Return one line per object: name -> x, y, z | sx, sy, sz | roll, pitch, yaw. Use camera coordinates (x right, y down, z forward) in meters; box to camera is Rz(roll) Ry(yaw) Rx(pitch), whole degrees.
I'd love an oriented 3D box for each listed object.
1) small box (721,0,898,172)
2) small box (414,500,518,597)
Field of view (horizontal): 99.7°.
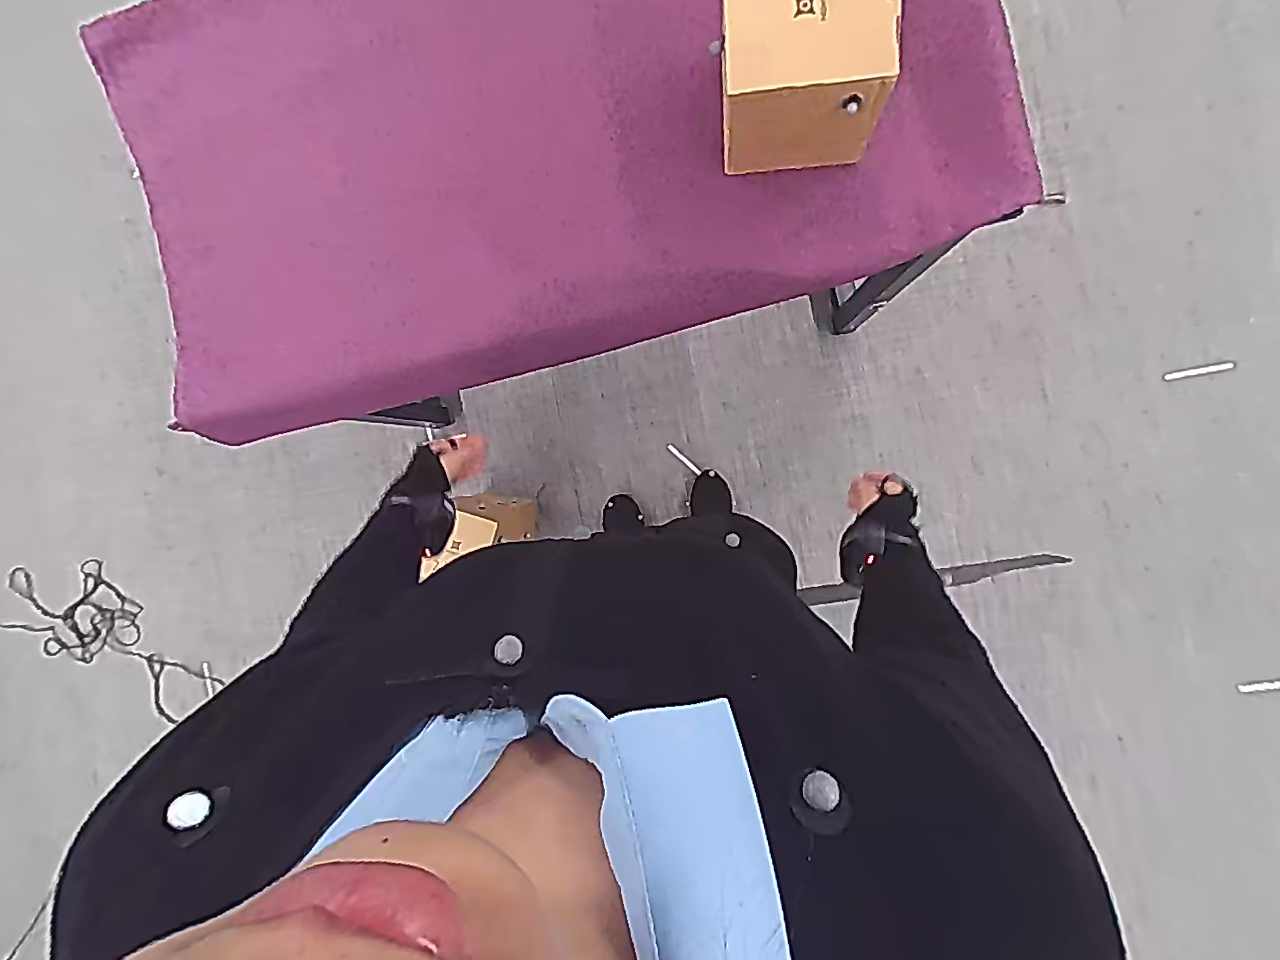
small box -> 0.185, -0.490, 0.637 | 0.179, 0.176, 0.168 | -2, 92, 7
small box -> -0.409, 0.155, 1.300 | 0.168, 0.176, 0.179 | 17, 95, 5
